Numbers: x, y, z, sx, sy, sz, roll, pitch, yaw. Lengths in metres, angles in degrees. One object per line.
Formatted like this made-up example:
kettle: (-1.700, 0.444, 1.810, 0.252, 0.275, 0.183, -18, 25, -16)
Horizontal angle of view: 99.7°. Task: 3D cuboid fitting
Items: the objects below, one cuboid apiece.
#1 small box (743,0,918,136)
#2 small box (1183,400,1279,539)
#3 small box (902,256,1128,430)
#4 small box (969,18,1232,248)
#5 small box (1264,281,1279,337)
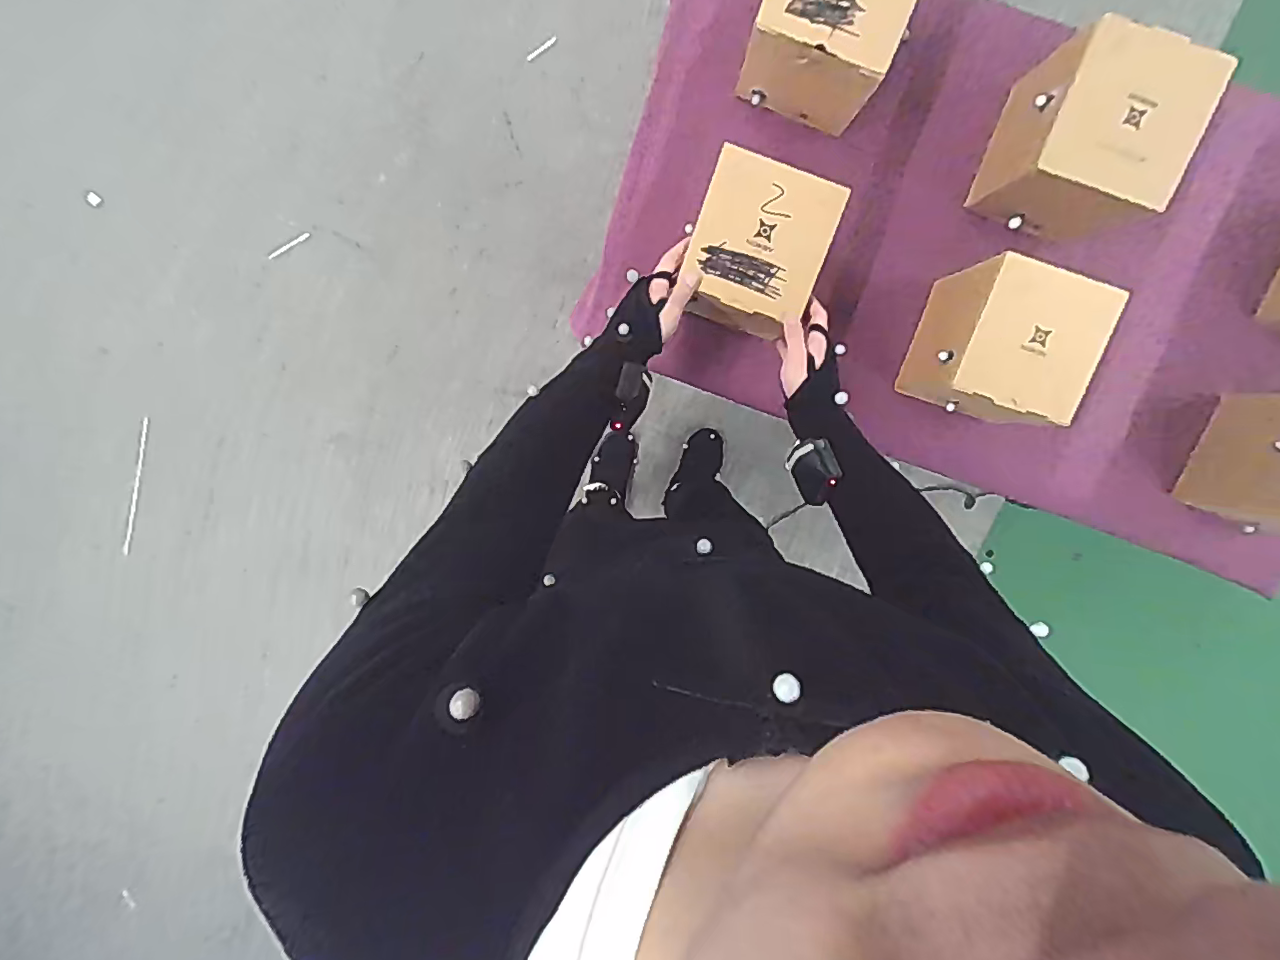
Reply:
small box: (0.242, -0.584, 0.692, 0.168, 0.176, 0.179, 21, 101, -2)
small box: (0.945, -0.007, 0.761, 0.168, 0.176, 0.179, 20, 99, 0)
small box: (0.500, -0.181, 0.754, 0.168, 0.176, 0.179, 18, 99, -1)
small box: (0.578, -0.434, 0.709, 0.168, 0.176, 0.179, 19, 100, 0)
small box: (1.021, -0.271, 0.718, 0.168, 0.176, 0.179, 18, 99, 0)
